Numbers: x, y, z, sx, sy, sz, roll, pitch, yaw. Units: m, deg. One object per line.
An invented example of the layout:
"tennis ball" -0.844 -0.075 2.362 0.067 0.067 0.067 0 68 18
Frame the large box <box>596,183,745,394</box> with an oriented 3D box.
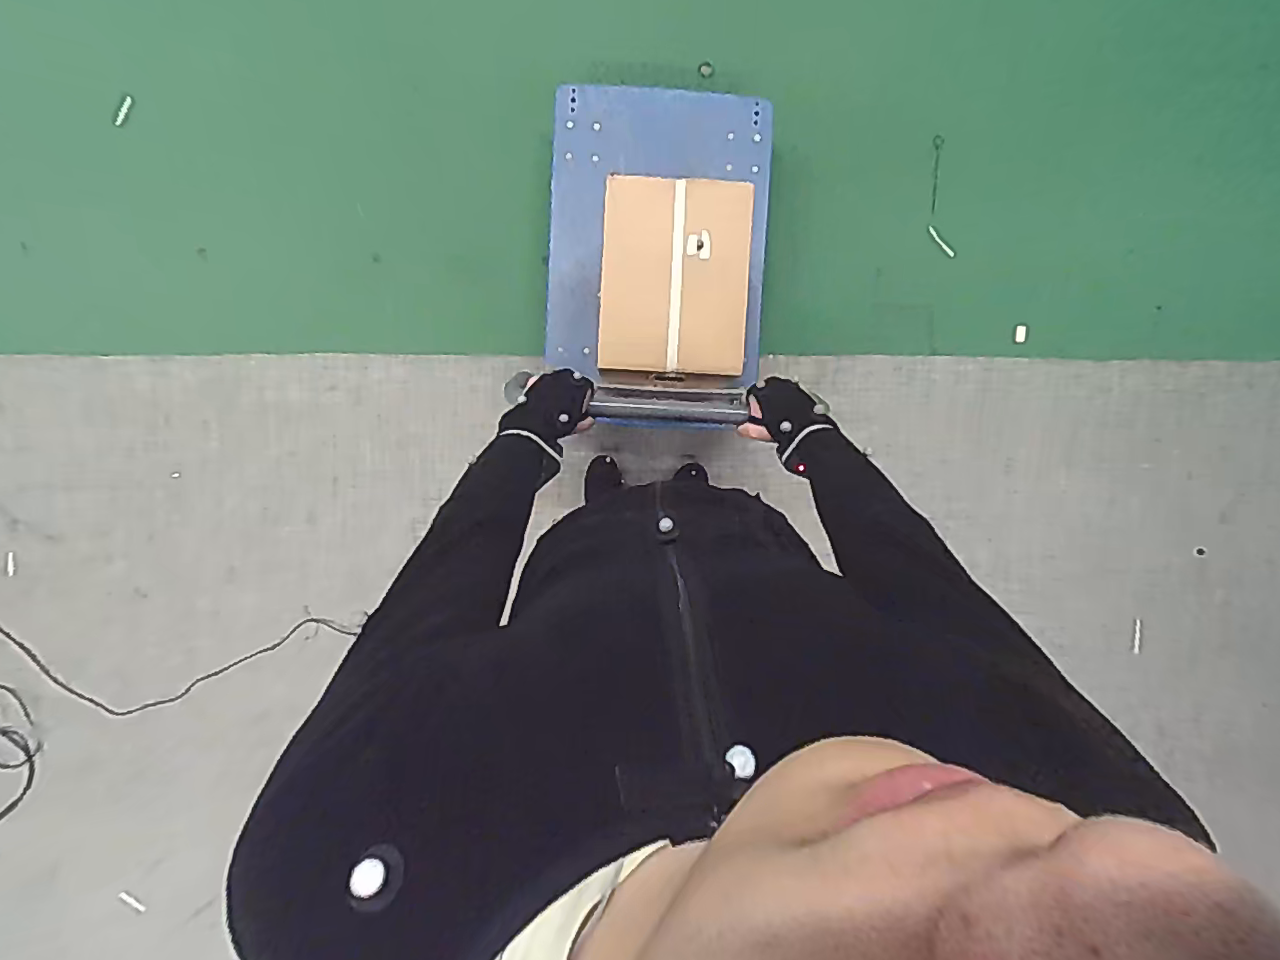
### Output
"large box" 0.063 -0.426 1.293 0.320 0.320 0.408 2 91 -2
